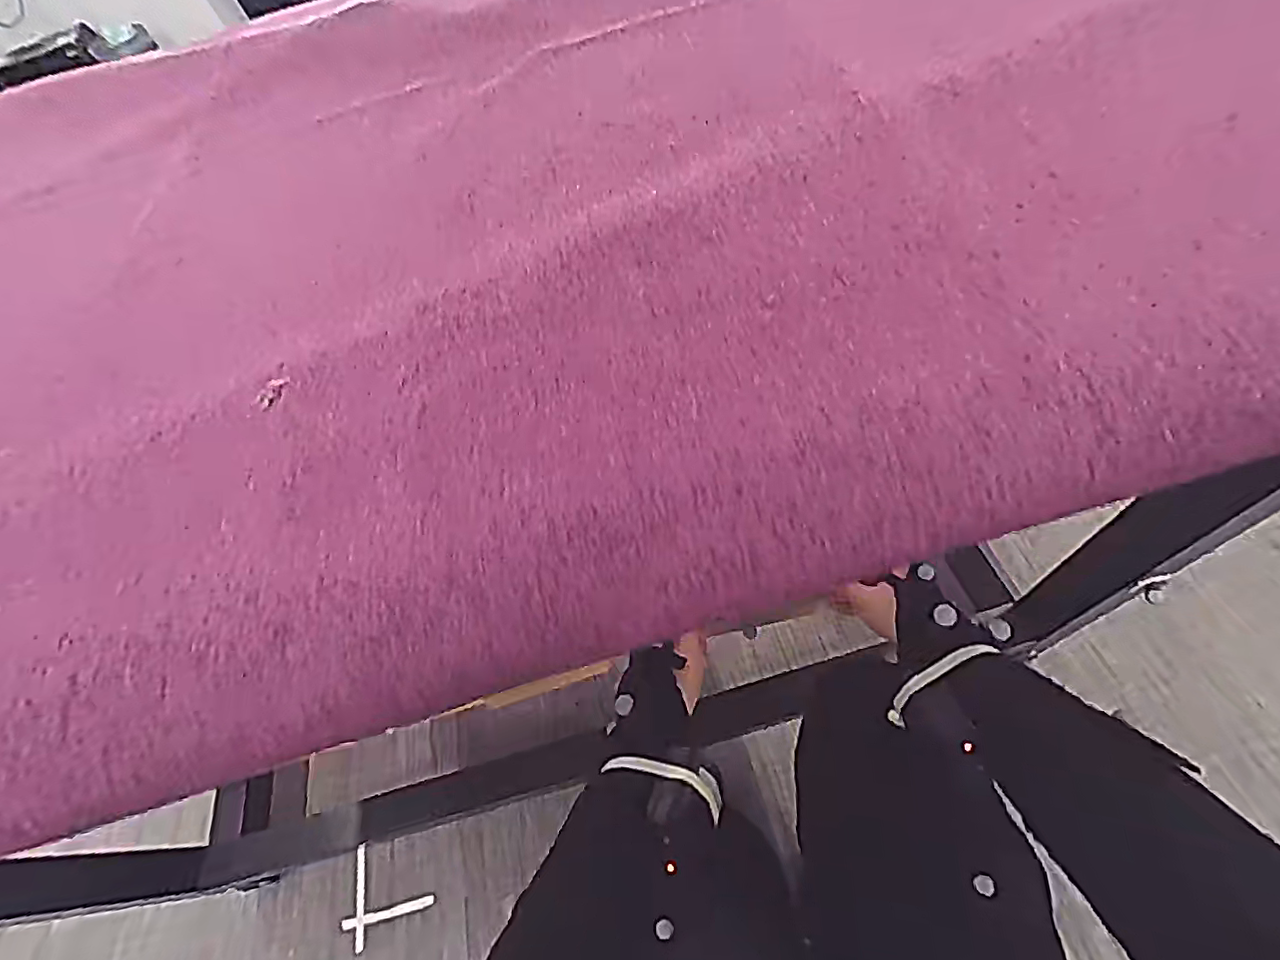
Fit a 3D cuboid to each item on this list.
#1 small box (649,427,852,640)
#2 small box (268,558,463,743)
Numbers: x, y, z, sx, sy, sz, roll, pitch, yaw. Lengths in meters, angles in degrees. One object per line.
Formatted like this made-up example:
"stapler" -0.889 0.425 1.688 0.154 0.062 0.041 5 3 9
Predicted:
"small box" 0.109 0.068 0.608 0.168 0.176 0.179 -13 67 1
"small box" -0.360 0.236 0.734 0.168 0.176 0.179 -20 59 0
